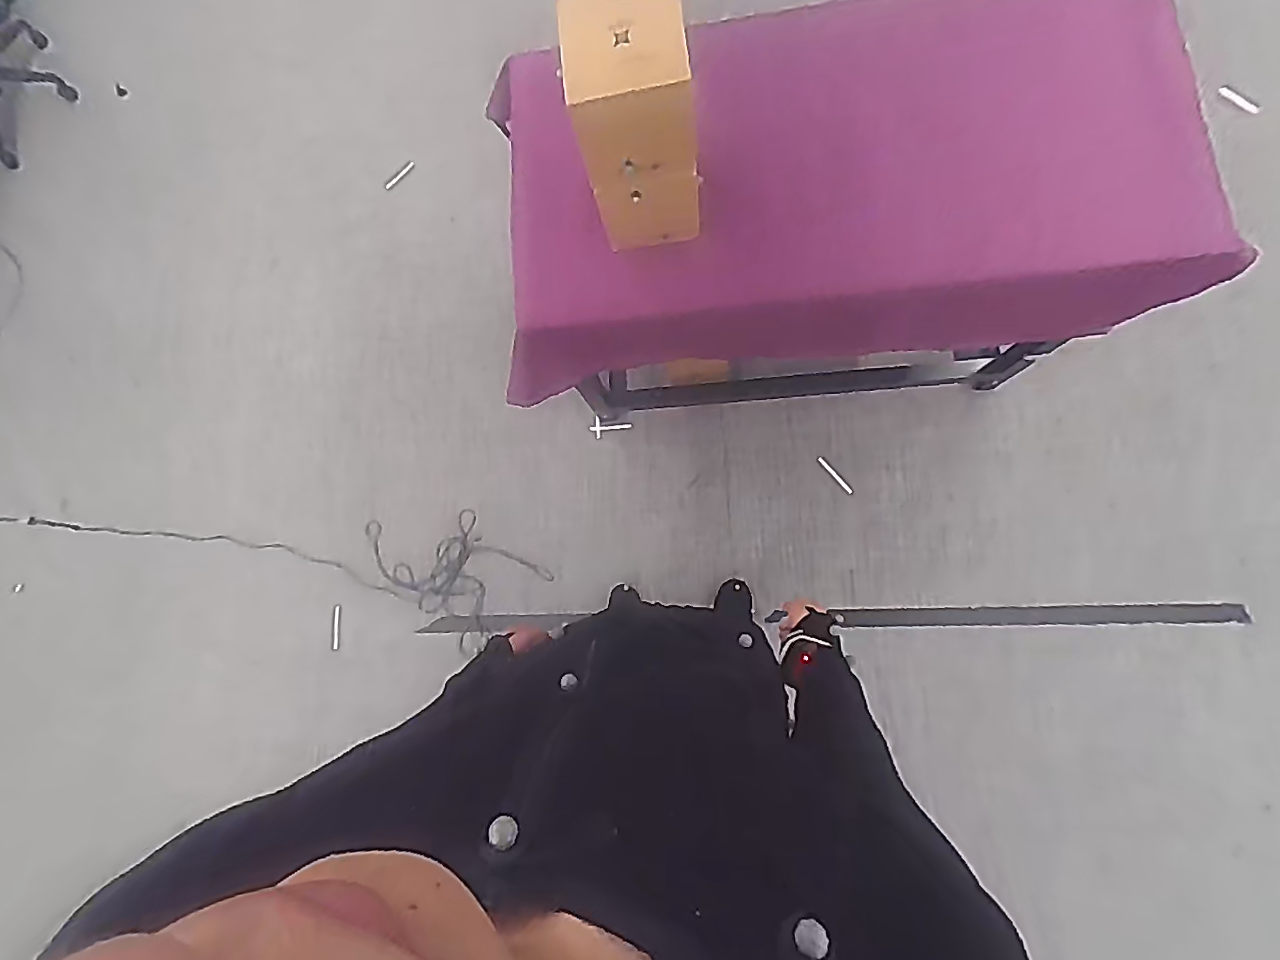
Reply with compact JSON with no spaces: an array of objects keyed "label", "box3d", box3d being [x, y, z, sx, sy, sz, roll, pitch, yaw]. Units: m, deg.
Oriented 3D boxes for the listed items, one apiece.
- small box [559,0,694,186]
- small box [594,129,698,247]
[{"label":"small box","box3d":[-0.014,-0.566,0.779,0.168,0.176,0.179,-7,80,6]},{"label":"small box","box3d":[0.012,-0.539,0.939,0.168,0.176,0.179,-6,80,7]}]
